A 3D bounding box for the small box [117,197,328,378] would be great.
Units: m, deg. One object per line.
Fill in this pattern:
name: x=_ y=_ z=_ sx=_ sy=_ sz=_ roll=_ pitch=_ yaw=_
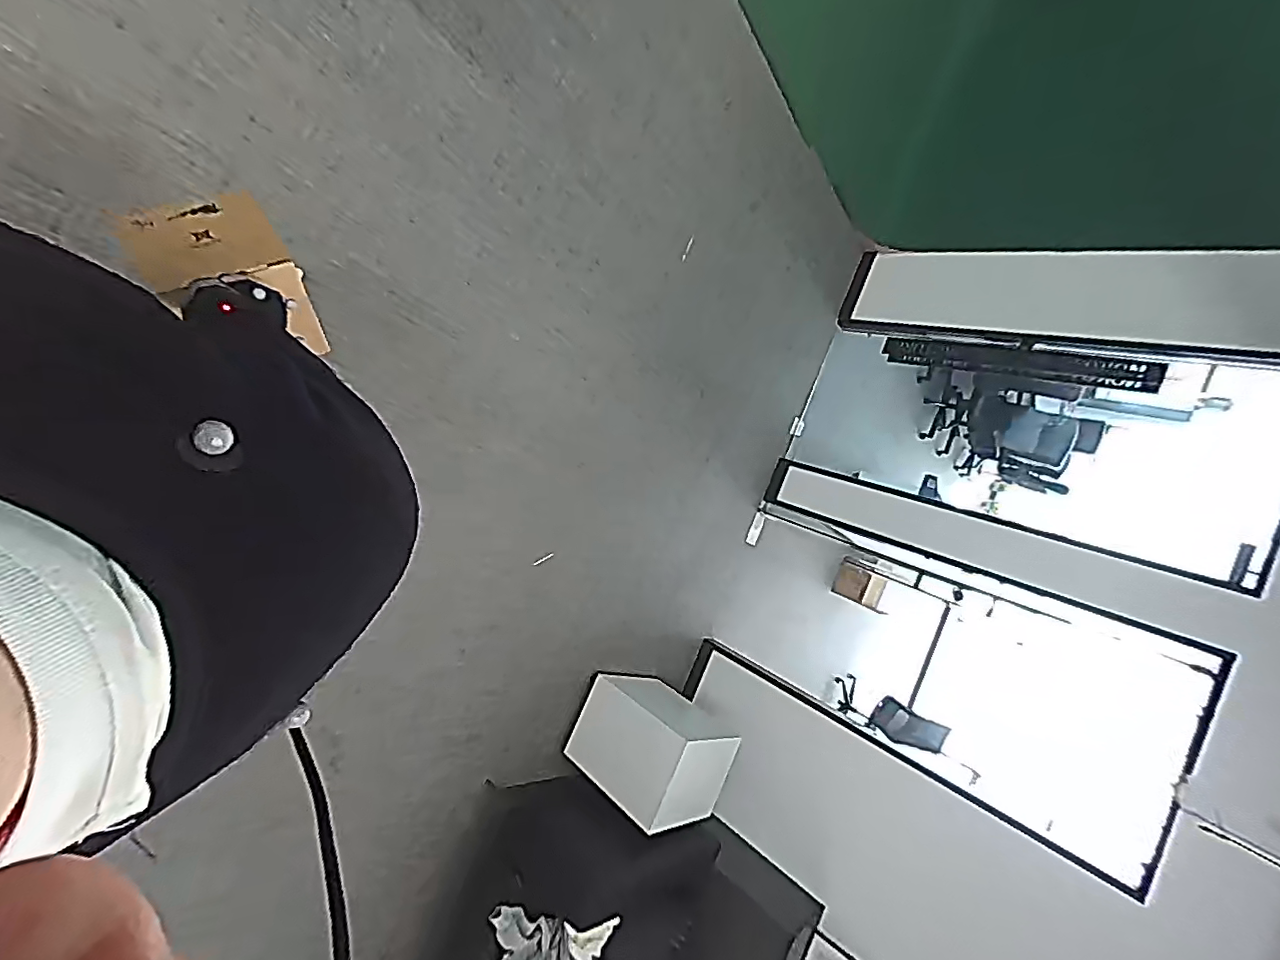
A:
small box: x=-0.596 y=-0.273 z=0.794 sx=0.168 sy=0.179 sz=0.176 roll=-32 pitch=158 yaw=-26
